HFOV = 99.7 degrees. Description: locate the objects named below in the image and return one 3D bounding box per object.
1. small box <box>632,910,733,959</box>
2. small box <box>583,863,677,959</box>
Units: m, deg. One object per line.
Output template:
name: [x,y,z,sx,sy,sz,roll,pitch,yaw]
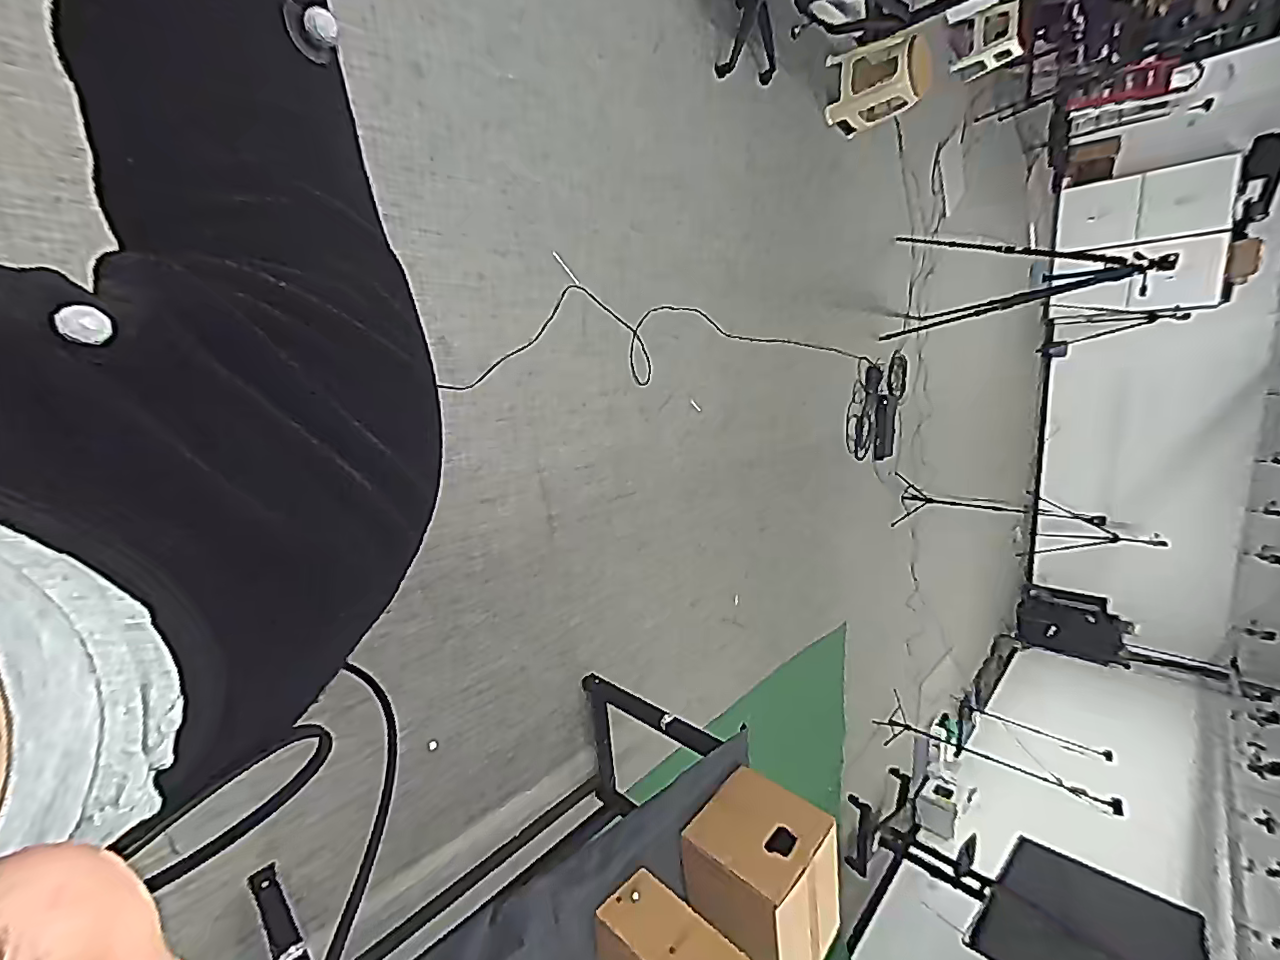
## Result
small box: [0.092,1.128,1.218,0.168,0.176,0.179,-13,107,-44]
small box: [-0.026,1.105,1.327,0.168,0.176,0.179,-12,105,-45]
